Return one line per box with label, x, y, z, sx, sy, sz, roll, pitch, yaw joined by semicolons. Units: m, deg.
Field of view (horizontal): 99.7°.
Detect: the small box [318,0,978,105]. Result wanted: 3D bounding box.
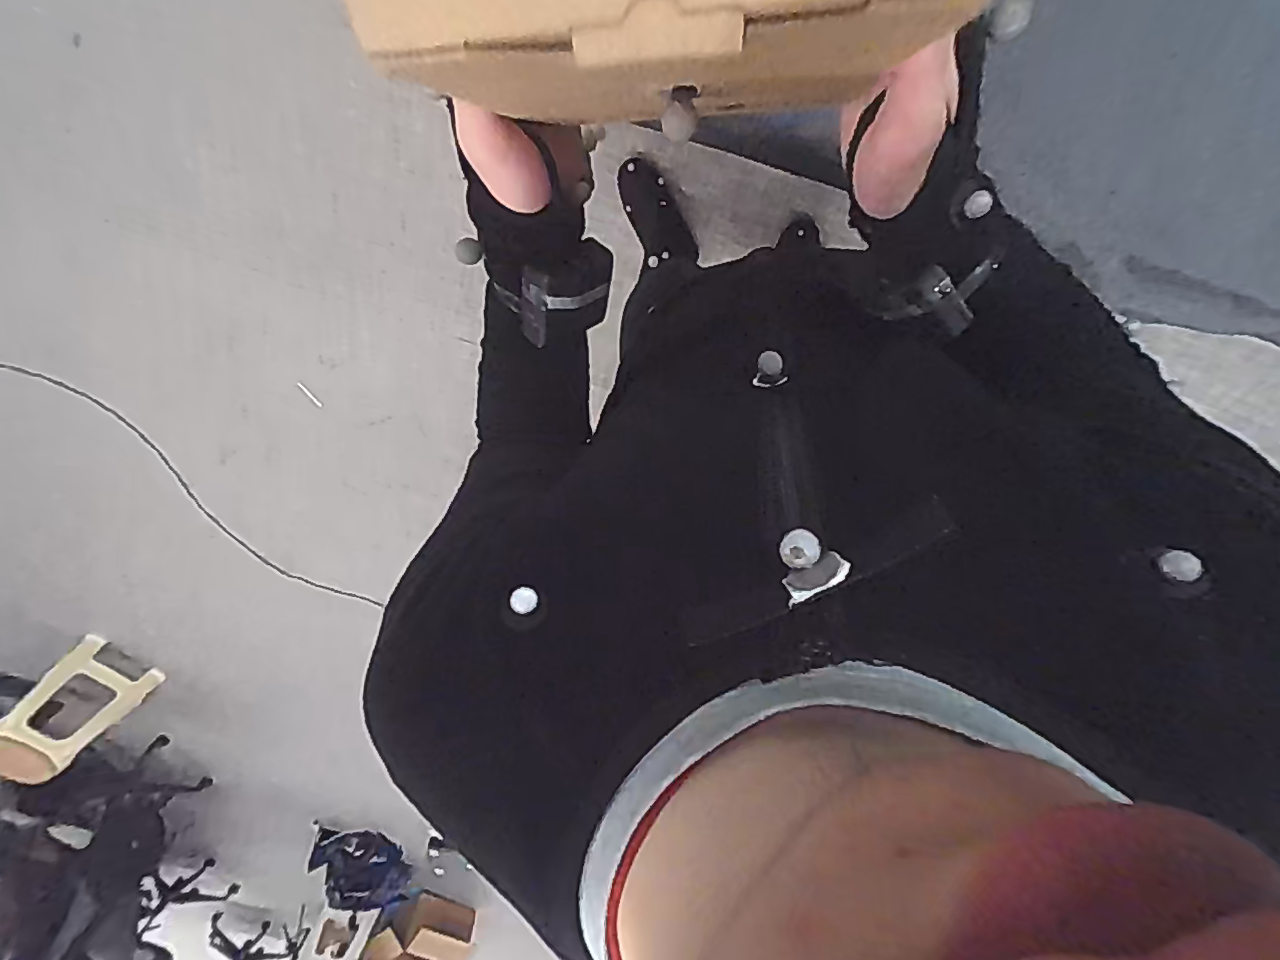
small box;0.004;-0.223;0.159;0.168;0.176;0.179;0;120;6
